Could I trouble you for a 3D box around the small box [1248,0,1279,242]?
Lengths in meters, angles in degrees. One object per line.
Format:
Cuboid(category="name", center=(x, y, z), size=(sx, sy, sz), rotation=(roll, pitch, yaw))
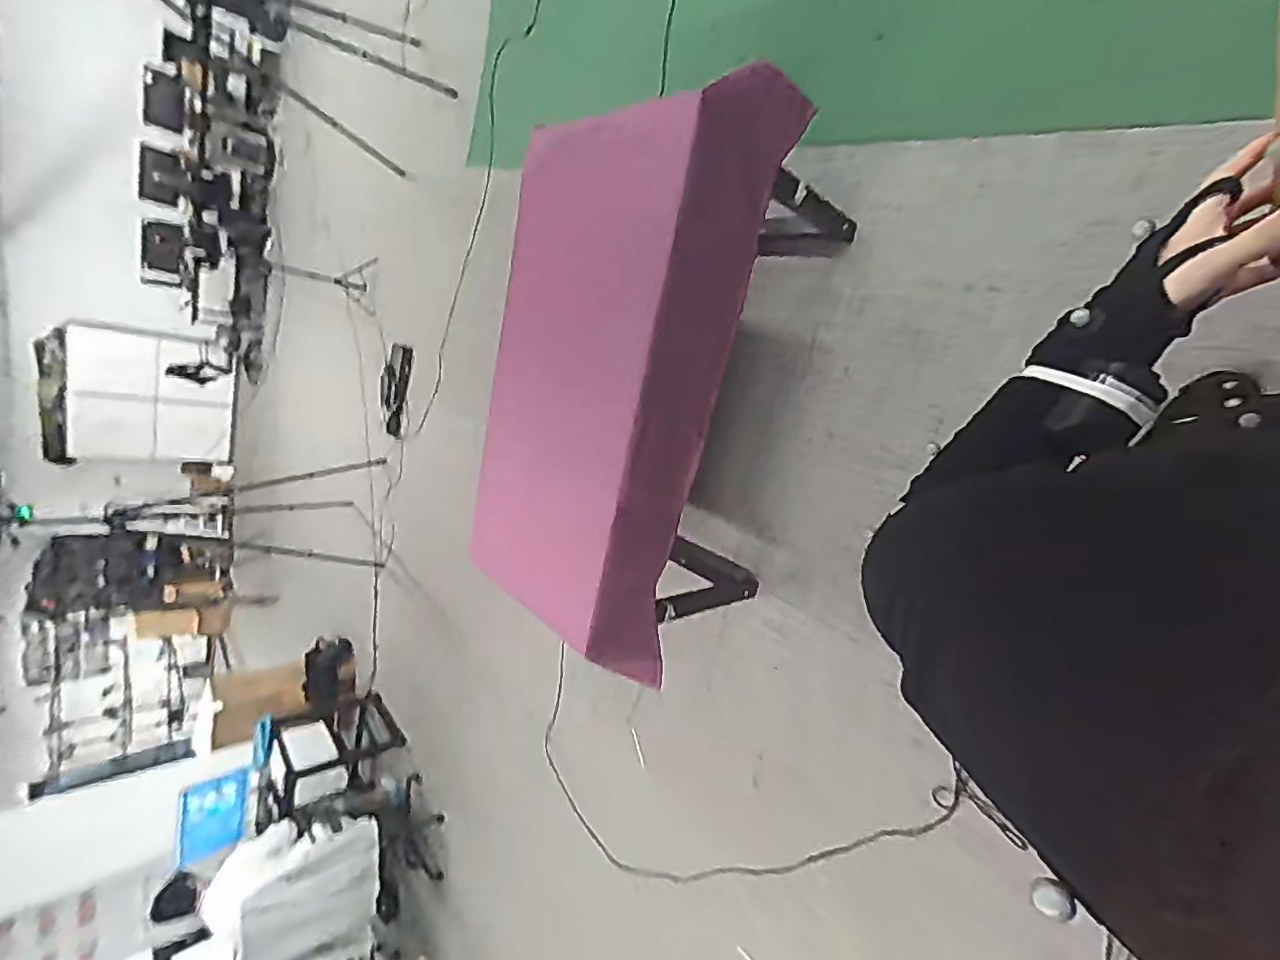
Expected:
Cuboid(category="small box", center=(0.452, -0.237, 0.279), size=(0.168, 0.176, 0.179), rotation=(1, 98, 42))
